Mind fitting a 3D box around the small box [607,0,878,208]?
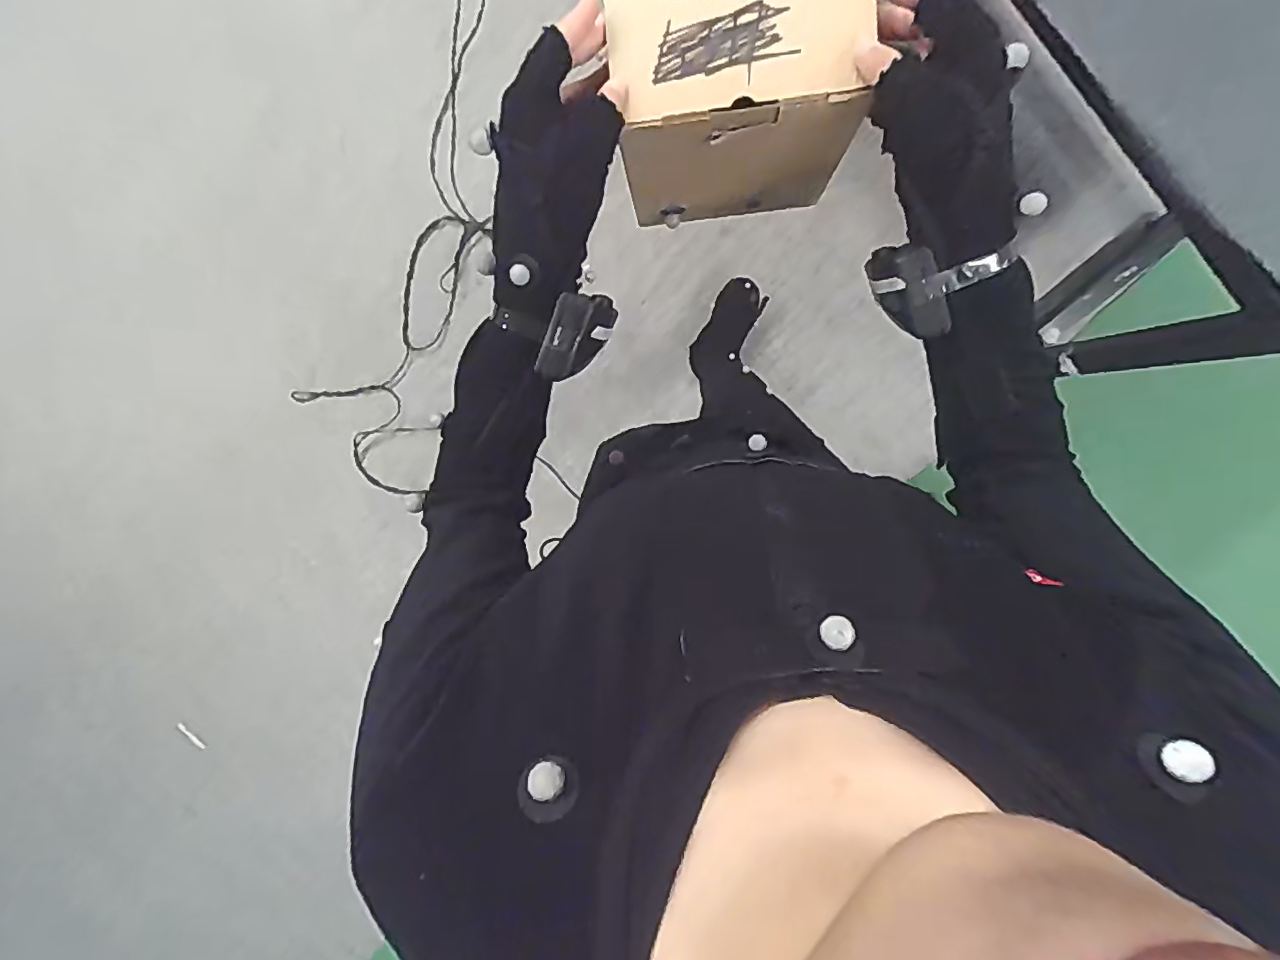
[{"bbox_3d":[0.067,-0.328,0.410,0.168,0.176,0.179,-5,94,5],"label":"small box"}]
